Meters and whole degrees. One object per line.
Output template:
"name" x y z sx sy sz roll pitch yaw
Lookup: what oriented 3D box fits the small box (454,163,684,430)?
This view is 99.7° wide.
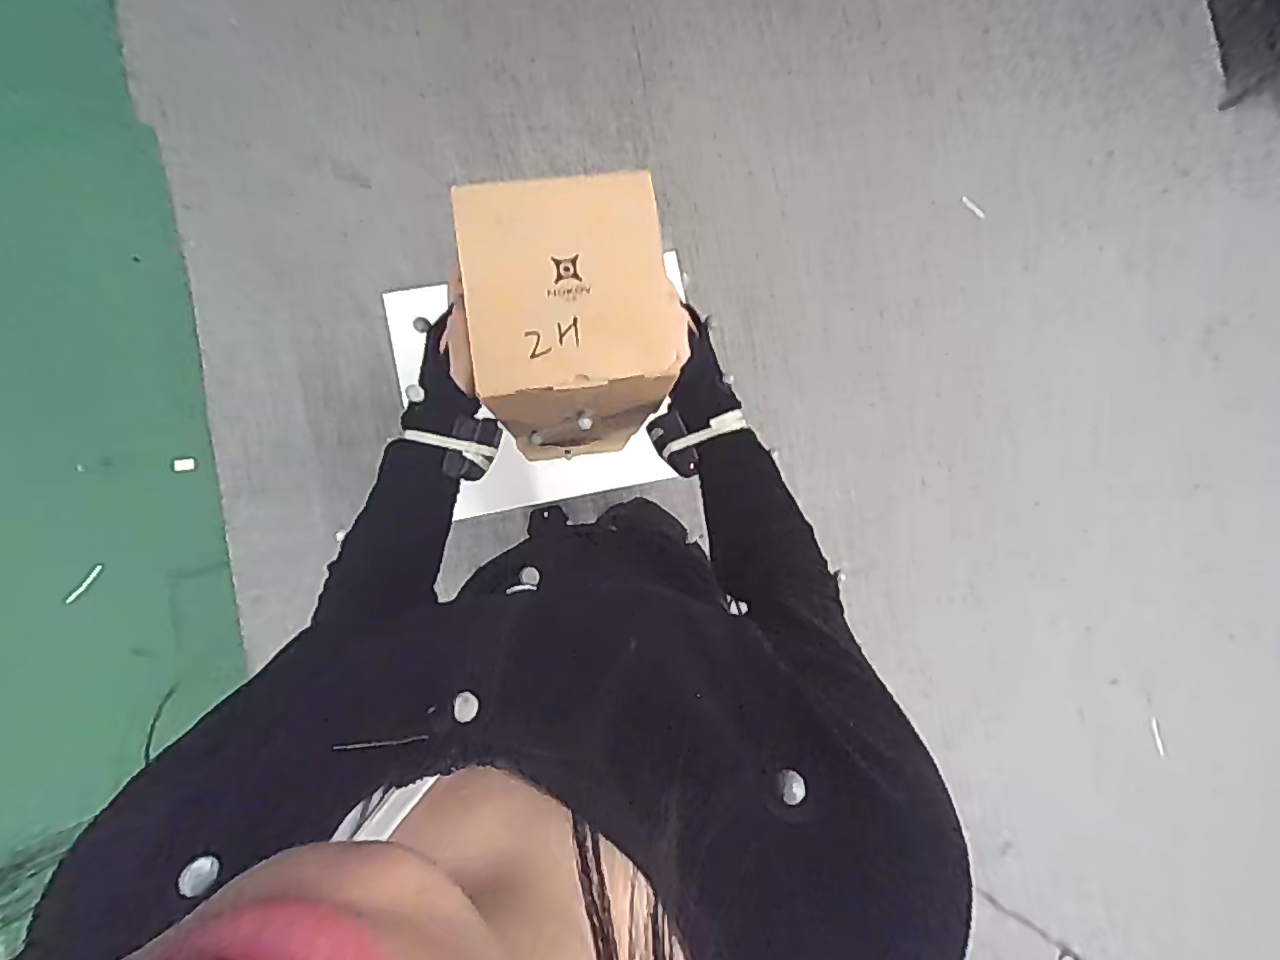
"small box" -0.063 -0.155 0.502 0.168 0.176 0.179 -8 85 -6

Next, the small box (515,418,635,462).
"small box" -0.106 -0.131 0.829 0.168 0.176 0.179 -7 87 -6
